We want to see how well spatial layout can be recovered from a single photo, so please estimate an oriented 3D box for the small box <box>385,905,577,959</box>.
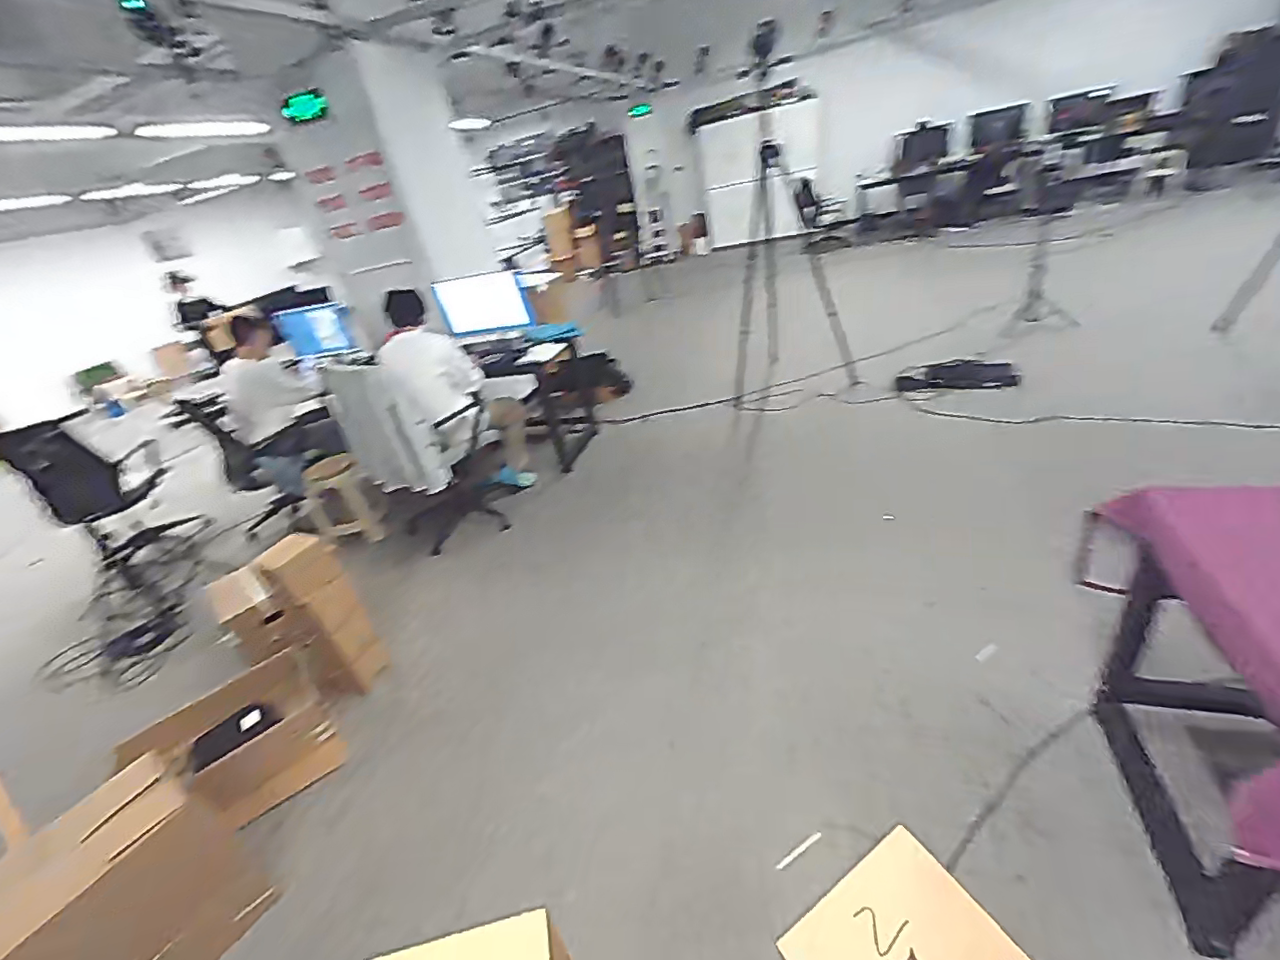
[{"bbox_3d":[-0.135,0.534,0.490,0.168,0.176,0.179,-9,39,-8],"label":"small box"}]
